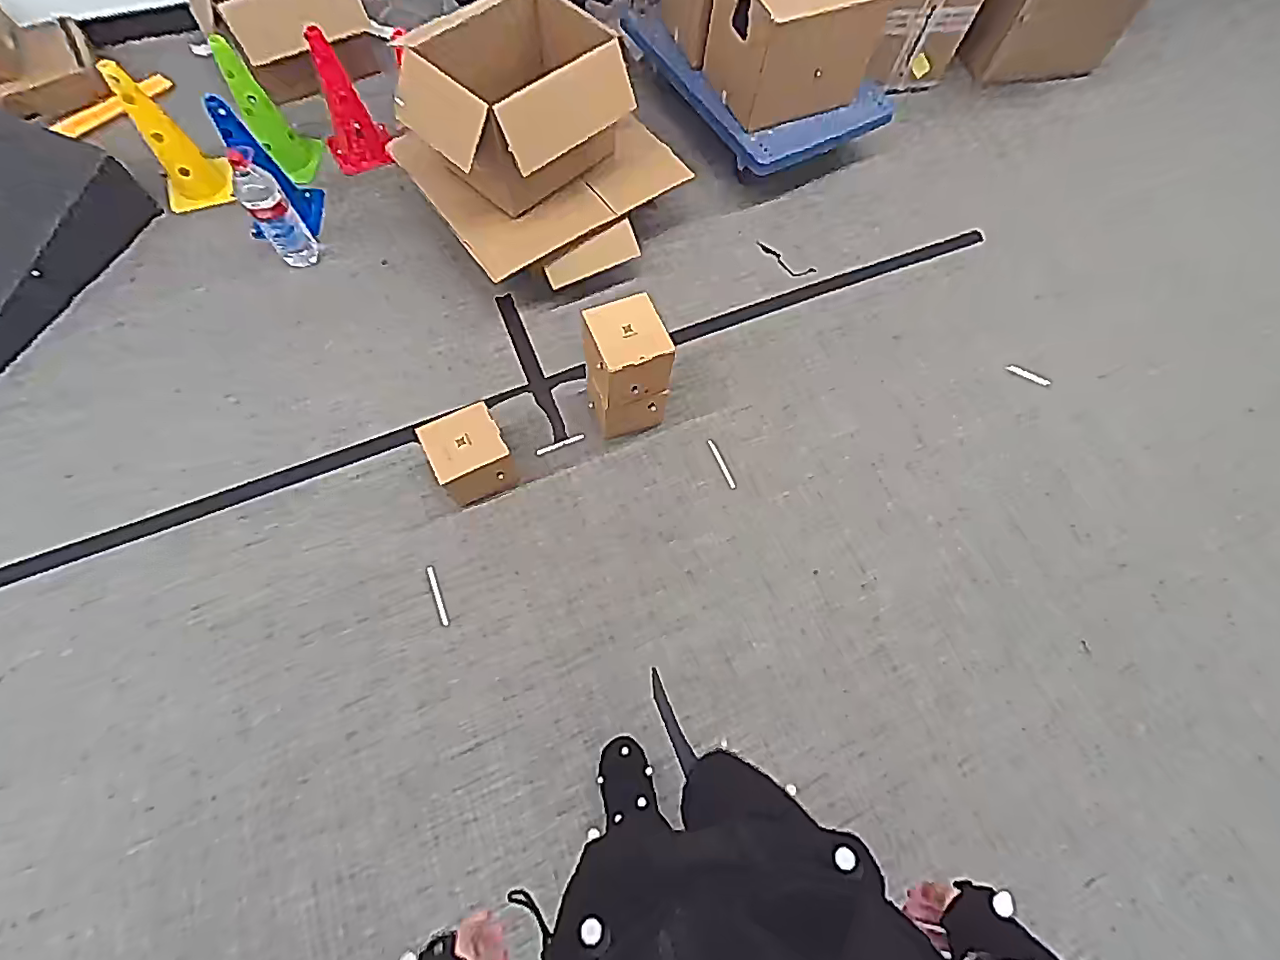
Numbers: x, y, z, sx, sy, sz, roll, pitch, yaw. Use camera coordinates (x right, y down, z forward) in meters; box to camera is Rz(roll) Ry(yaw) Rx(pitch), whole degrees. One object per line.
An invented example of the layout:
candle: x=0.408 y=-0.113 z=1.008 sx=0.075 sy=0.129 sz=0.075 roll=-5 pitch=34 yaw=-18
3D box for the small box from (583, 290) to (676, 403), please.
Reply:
small box: x=-0.033 y=-0.315 z=1.294 sx=0.168 sy=0.176 sz=0.179 roll=-21 pitch=72 yaw=-12

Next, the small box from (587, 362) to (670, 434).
small box: x=-0.038 y=-0.245 z=1.441 sx=0.179 sy=0.176 sz=0.168 roll=-17 pitch=71 yaw=-11

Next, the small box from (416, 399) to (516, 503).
small box: x=-0.421 y=-0.067 z=1.348 sx=0.179 sy=0.176 sz=0.168 roll=-27 pitch=72 yaw=-12
